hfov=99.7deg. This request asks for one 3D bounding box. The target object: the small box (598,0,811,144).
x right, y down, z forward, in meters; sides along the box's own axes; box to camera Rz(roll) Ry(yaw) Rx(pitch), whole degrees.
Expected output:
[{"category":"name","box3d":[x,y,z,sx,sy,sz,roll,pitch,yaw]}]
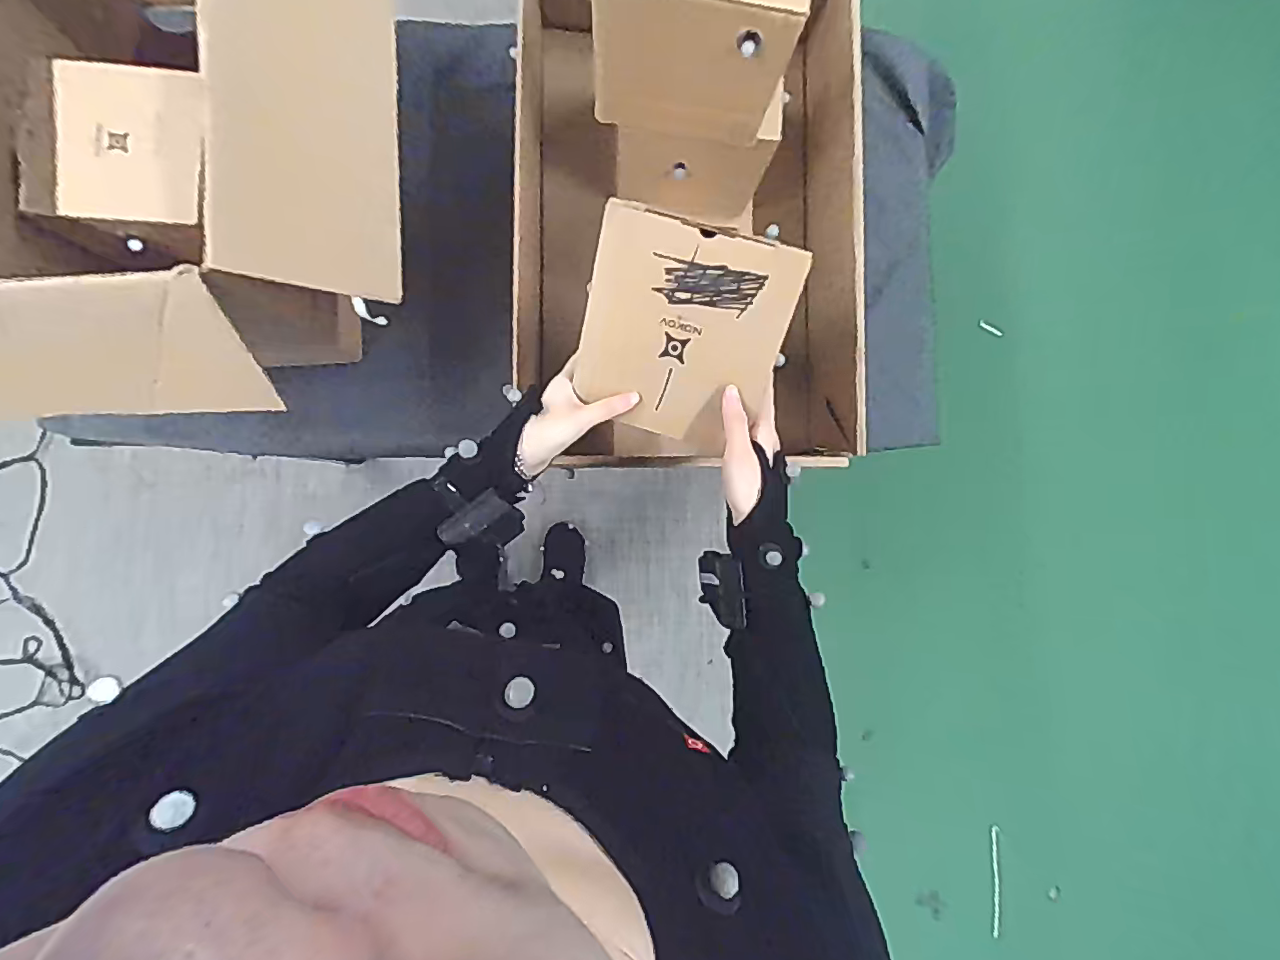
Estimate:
[{"category":"small box","box3d":[0.055,-0.455,0.511,0.179,0.176,0.168,7,89,-5]}]

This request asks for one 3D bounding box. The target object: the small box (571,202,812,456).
[{"category":"small box","box3d":[0.048,-0.153,0.524,0.168,0.176,0.179,18,119,4]}]
